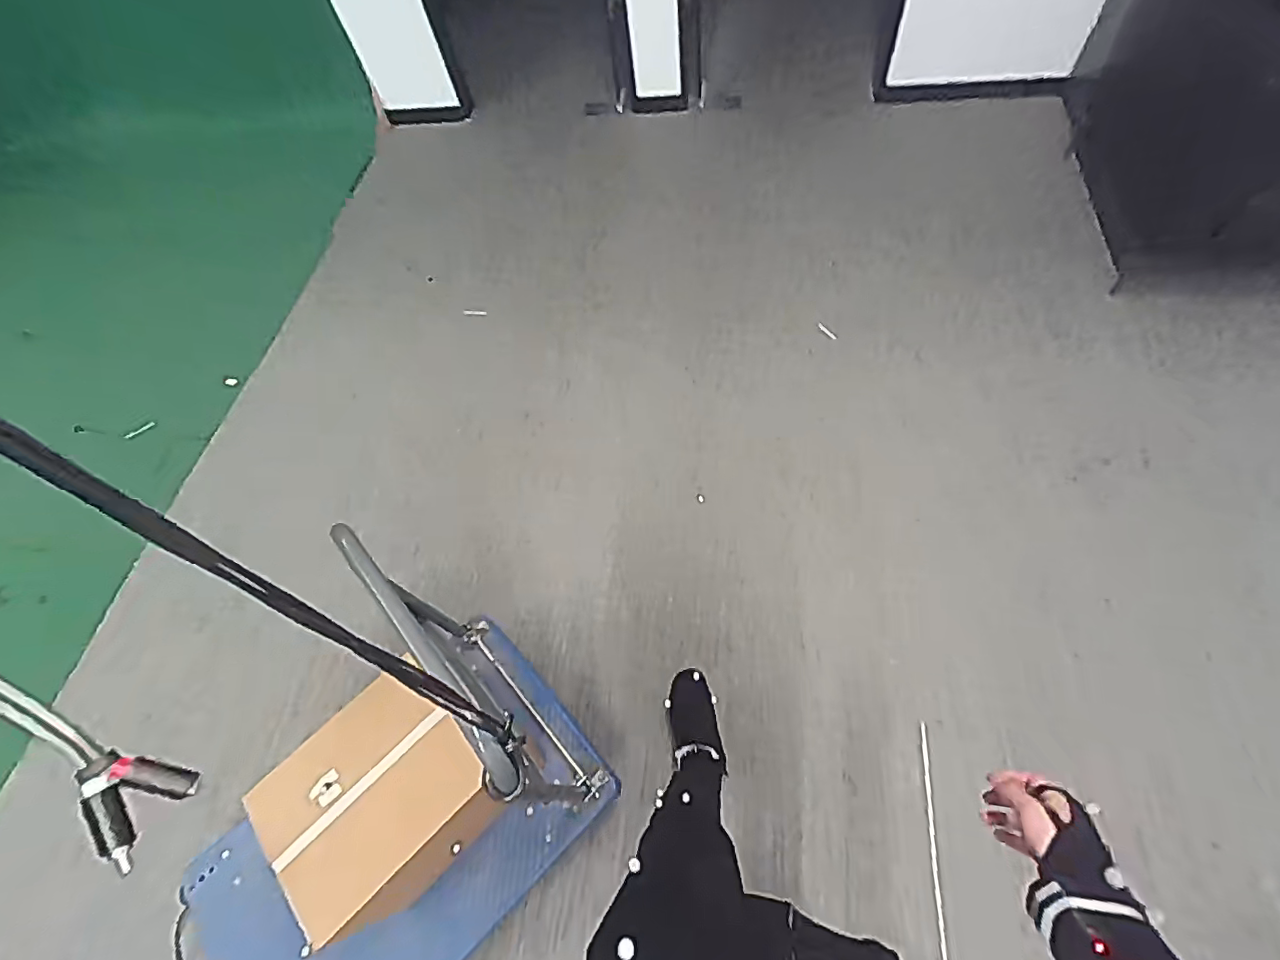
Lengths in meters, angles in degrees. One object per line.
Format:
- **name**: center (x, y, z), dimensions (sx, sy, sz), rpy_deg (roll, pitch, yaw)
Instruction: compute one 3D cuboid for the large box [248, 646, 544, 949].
- **large box**: center (-0.477, 0.626, 1.136), dimensions (0.408, 0.320, 0.320), rpy_deg (-43, 64, -14)
